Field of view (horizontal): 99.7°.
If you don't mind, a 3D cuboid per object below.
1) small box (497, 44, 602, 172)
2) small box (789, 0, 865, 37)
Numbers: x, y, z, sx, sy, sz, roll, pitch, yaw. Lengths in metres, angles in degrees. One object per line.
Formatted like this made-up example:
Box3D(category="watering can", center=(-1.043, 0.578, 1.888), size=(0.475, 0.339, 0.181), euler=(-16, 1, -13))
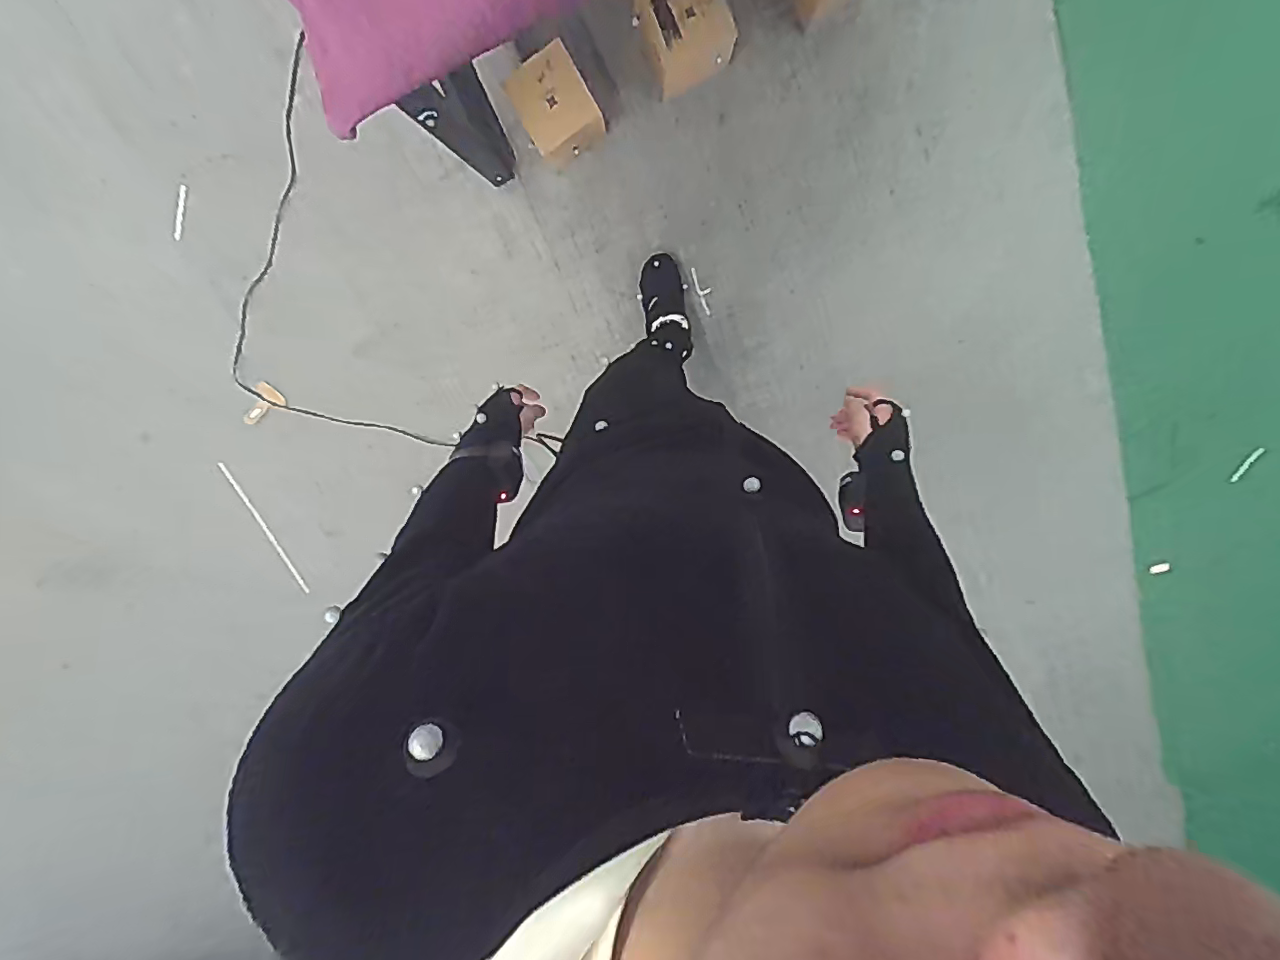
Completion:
Box3D(category="small box", center=(-0.203, -0.861, 1.280), size=(0.168, 0.176, 0.179), euler=(-30, 104, 9))
Box3D(category="small box", center=(0.423, -1.143, 1.190), size=(0.168, 0.176, 0.179), euler=(-28, 104, 8))
